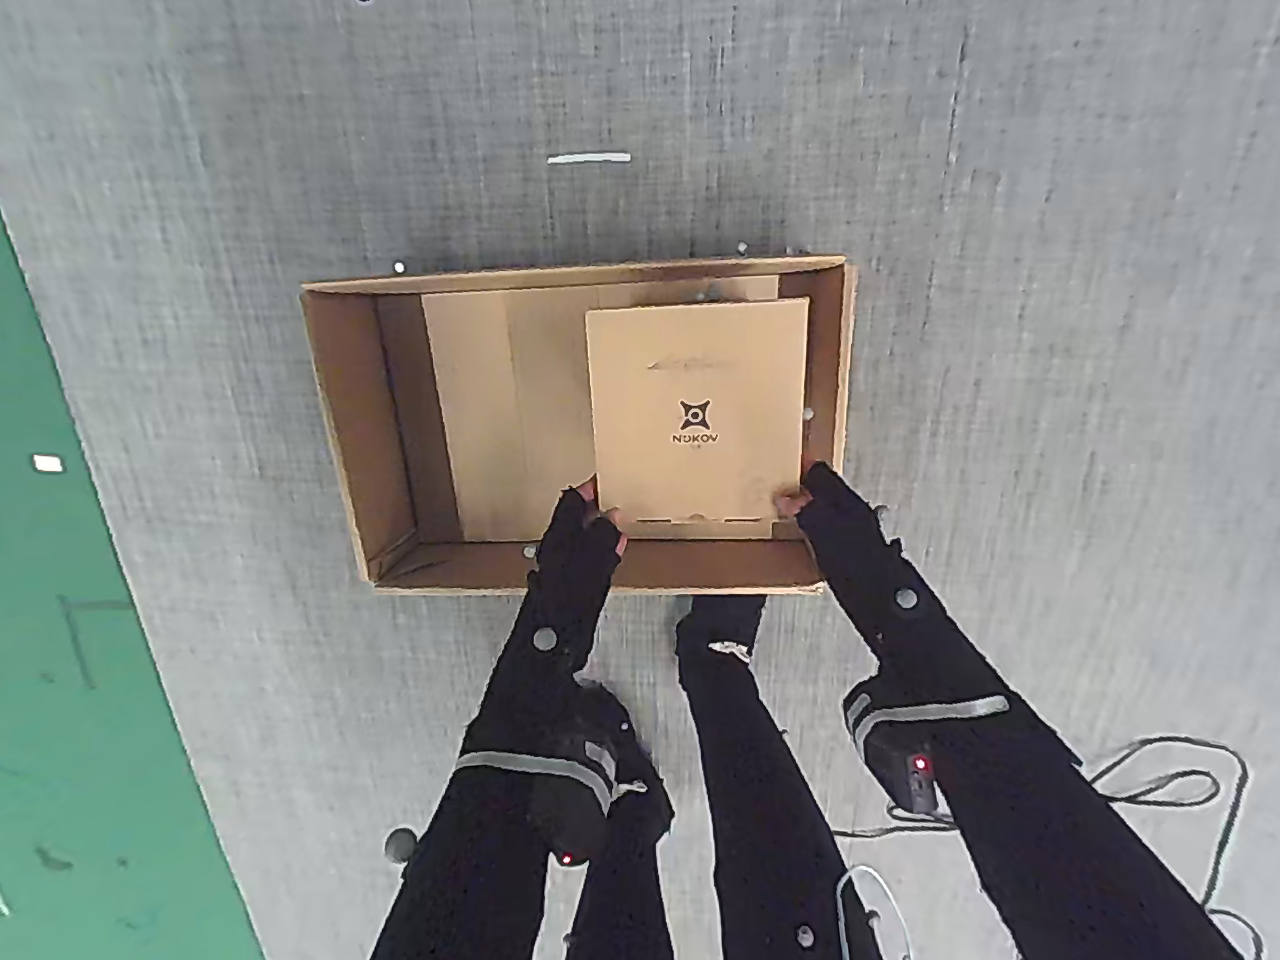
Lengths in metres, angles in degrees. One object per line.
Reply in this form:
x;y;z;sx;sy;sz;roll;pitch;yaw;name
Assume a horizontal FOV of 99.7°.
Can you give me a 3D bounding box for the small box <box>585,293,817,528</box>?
0.052;-0.071;0.479;0.168;0.176;0.179;0;108;6;small box
